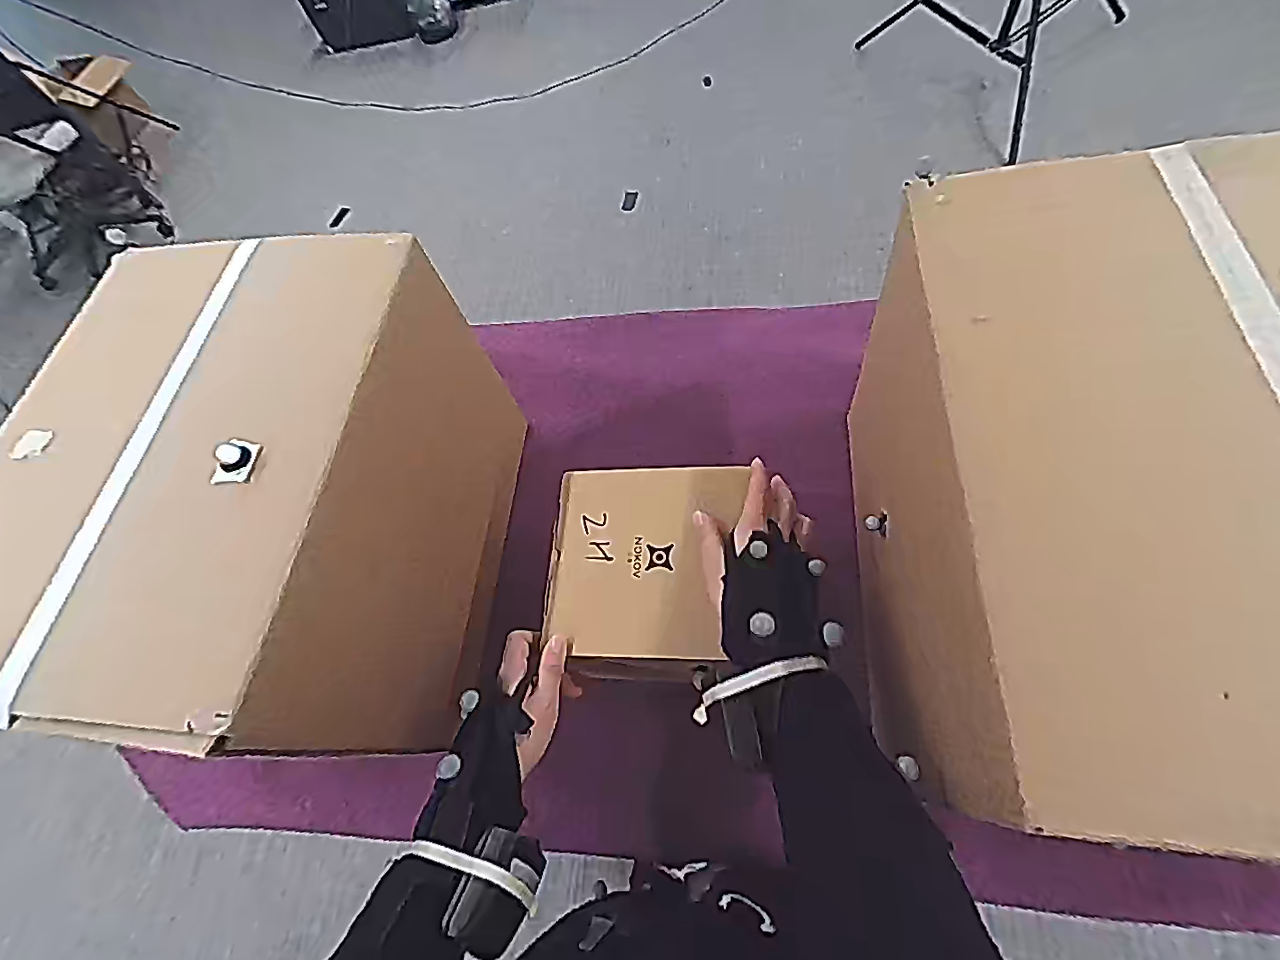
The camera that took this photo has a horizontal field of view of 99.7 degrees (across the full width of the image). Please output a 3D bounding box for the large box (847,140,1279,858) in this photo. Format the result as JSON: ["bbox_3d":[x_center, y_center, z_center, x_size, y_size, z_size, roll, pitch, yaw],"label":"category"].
[{"bbox_3d":[0.351,0.031,0.403,0.320,0.320,0.408,0,62,11],"label":"large box"}]
